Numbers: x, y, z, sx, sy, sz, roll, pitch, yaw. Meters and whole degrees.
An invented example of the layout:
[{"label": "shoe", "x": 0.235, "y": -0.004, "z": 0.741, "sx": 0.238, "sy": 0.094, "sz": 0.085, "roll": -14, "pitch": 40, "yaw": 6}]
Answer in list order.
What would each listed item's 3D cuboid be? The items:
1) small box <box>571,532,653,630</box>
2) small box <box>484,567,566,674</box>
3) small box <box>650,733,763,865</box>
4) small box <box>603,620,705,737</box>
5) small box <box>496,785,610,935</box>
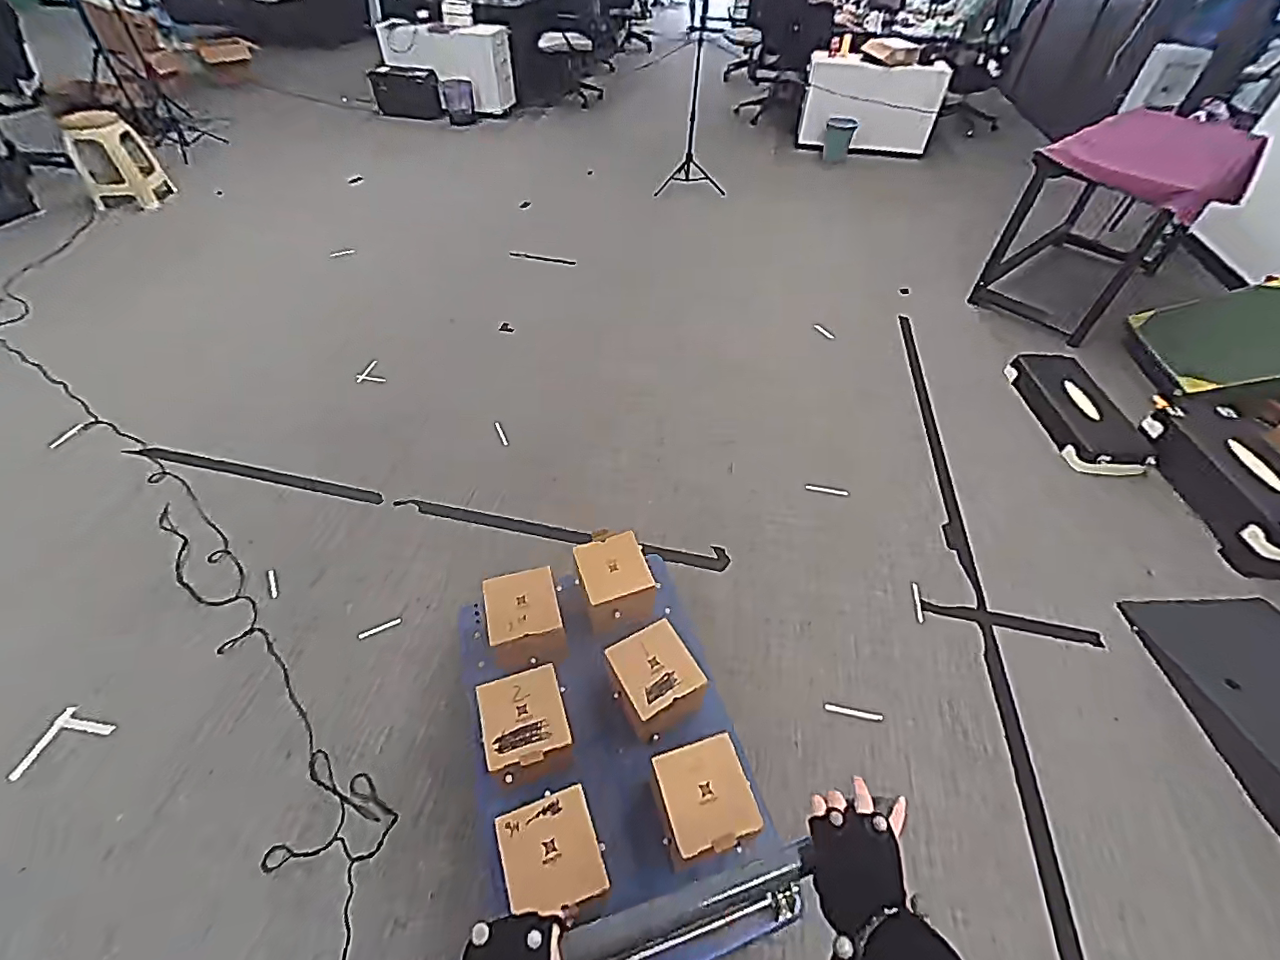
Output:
[{"label": "small box", "x": -0.072, "y": 0.270, "z": 1.405, "sx": 0.168, "sy": 0.176, "sz": 0.179, "roll": -15, "pitch": 51, "yaw": -15}, {"label": "small box", "x": -0.281, "y": 0.345, "z": 1.327, "sx": 0.168, "sy": 0.176, "sz": 0.179, "roll": -12, "pitch": 51, "yaw": -12}, {"label": "small box", "x": 0.123, "y": 0.643, "z": 1.083, "sx": 0.168, "sy": 0.176, "sz": 0.179, "roll": -12, "pitch": 49, "yaw": -13}, {"label": "small box", "x": 0.029, "y": 0.461, "z": 1.239, "sx": 0.168, "sy": 0.176, "sz": 0.179, "roll": -23, "pitch": 52, "yaw": -21}, {"label": "small box", "x": -0.159, "y": 0.709, "z": 1.009, "sx": 0.168, "sy": 0.176, "sz": 0.179, "roll": -15, "pitch": 51, "yaw": -16}]
